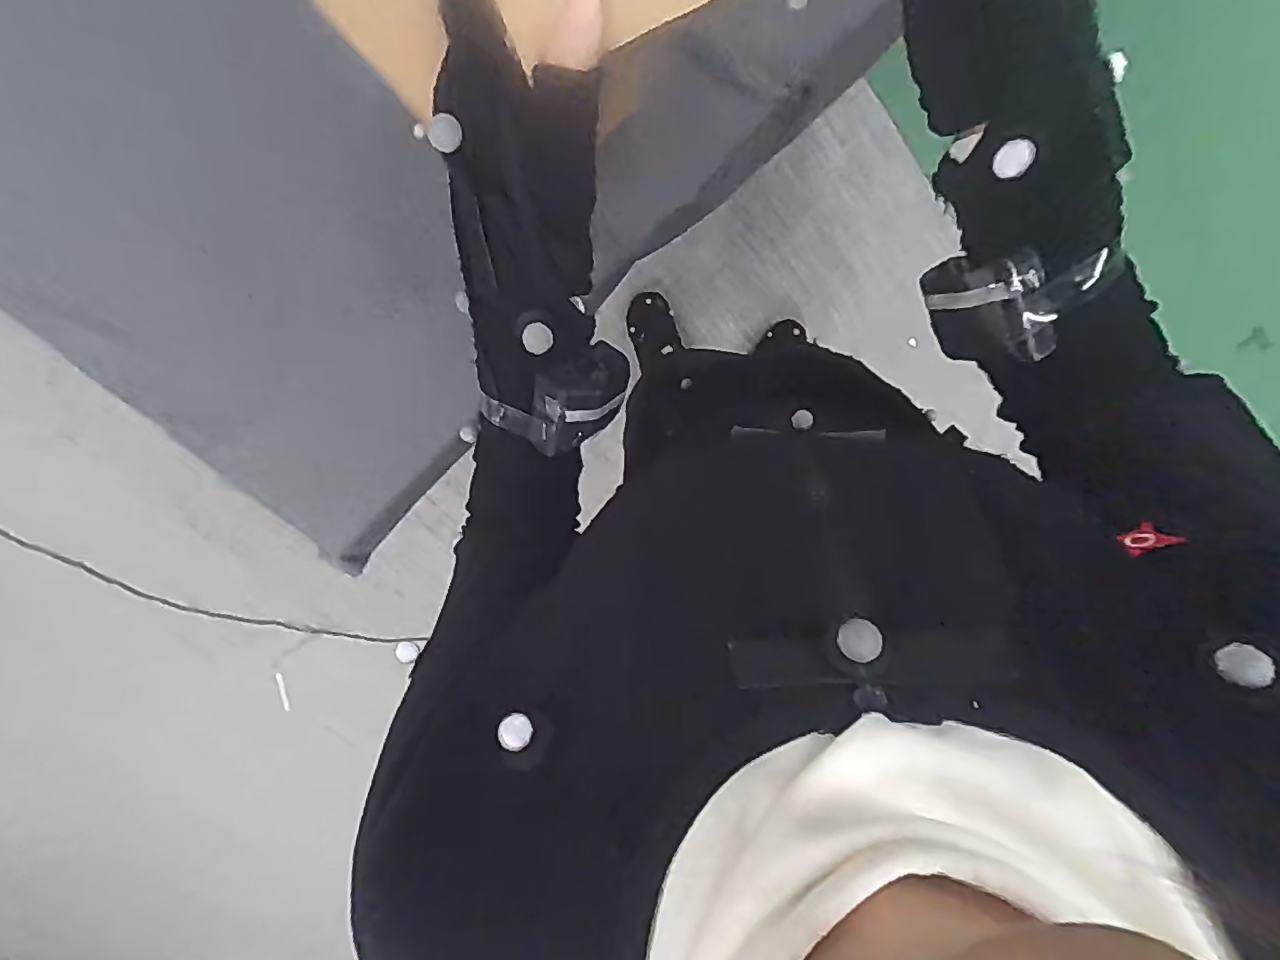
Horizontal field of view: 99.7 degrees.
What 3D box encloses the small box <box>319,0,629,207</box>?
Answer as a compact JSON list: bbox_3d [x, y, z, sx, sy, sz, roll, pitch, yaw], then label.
[{"bbox_3d":[-0.120,-0.367,0.472,0.168,0.176,0.179,-41,106,11],"label":"small box"}]
